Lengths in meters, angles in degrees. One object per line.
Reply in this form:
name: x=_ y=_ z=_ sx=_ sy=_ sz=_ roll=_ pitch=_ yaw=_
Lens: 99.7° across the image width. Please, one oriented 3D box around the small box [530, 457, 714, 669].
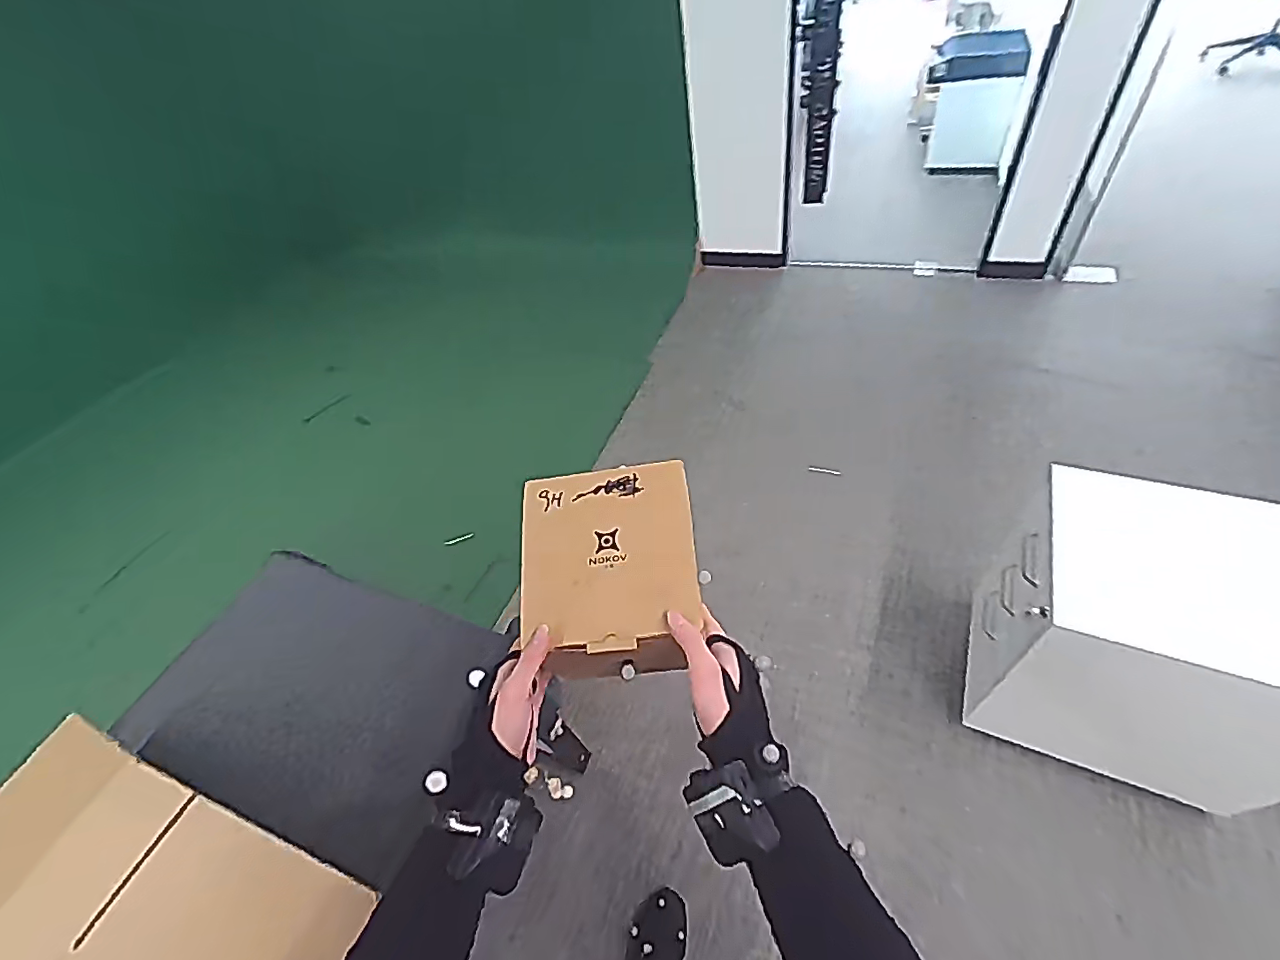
small box: x=-0.014 y=0.101 z=0.590 sx=0.168 sy=0.176 sz=0.179 roll=-10 pitch=61 yaw=4
